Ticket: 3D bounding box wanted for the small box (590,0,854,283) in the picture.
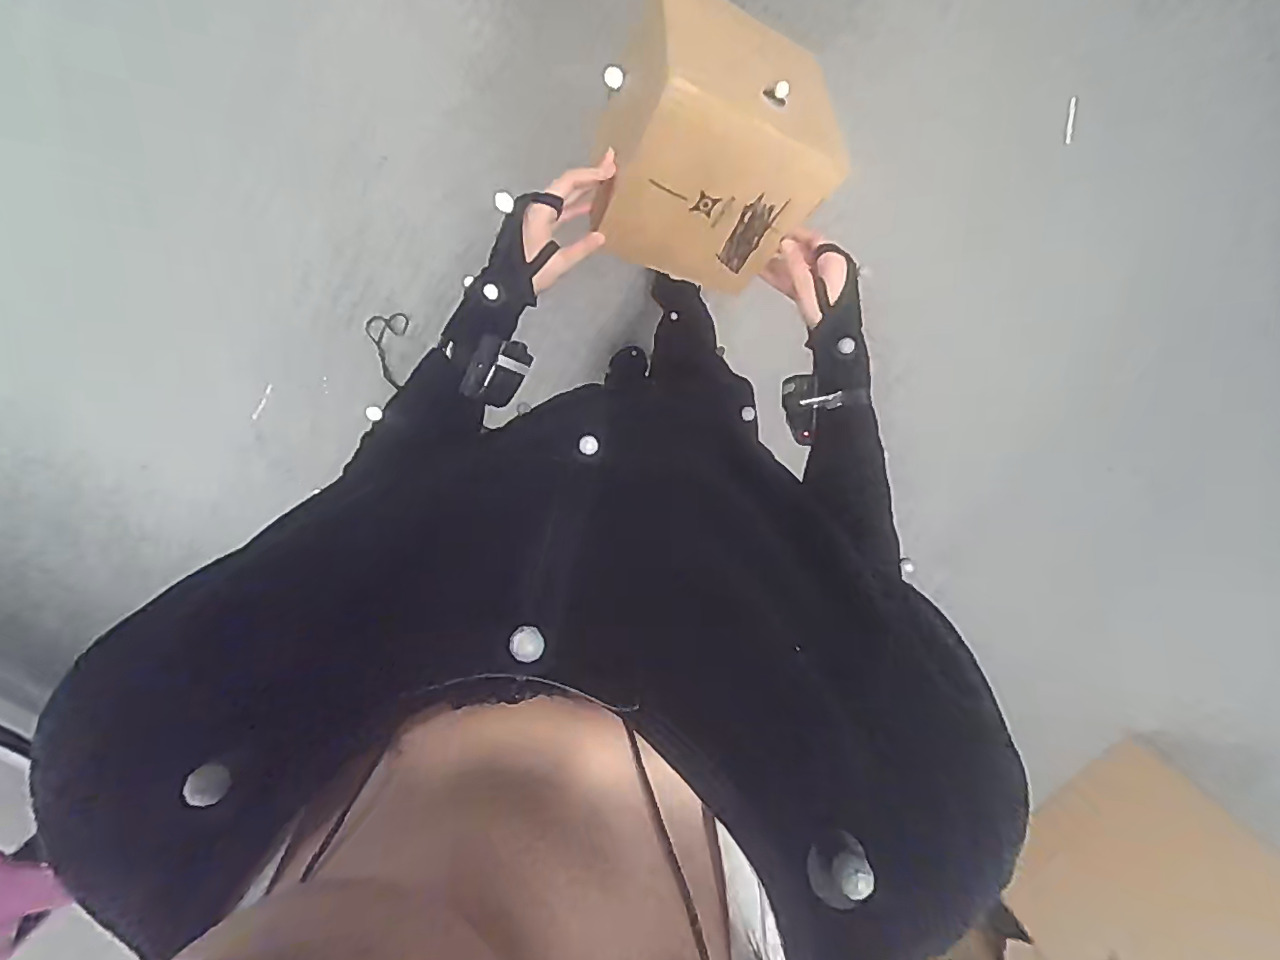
[{"bbox_3d":[0.062,-0.323,0.503,0.179,0.176,0.168,9,152,-23],"label":"small box"}]
